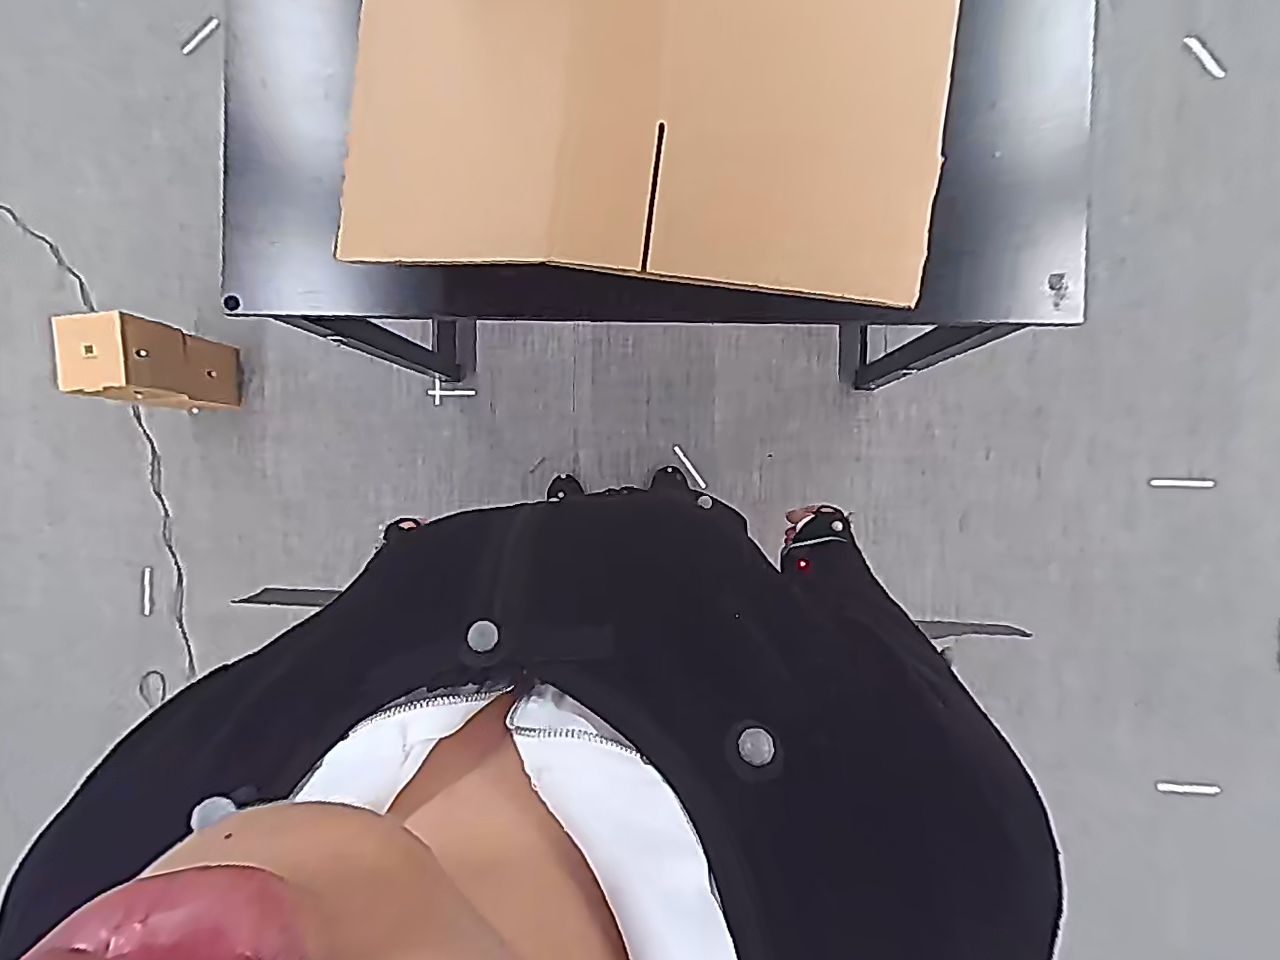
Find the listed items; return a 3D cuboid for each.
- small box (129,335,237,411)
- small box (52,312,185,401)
[{"bbox_3d":[-1.245,-0.287,1.477,0.168,0.176,0.179,-2,91,3],"label":"small box"},{"bbox_3d":[-1.256,-0.291,1.315,0.168,0.176,0.179,-5,89,3],"label":"small box"}]
